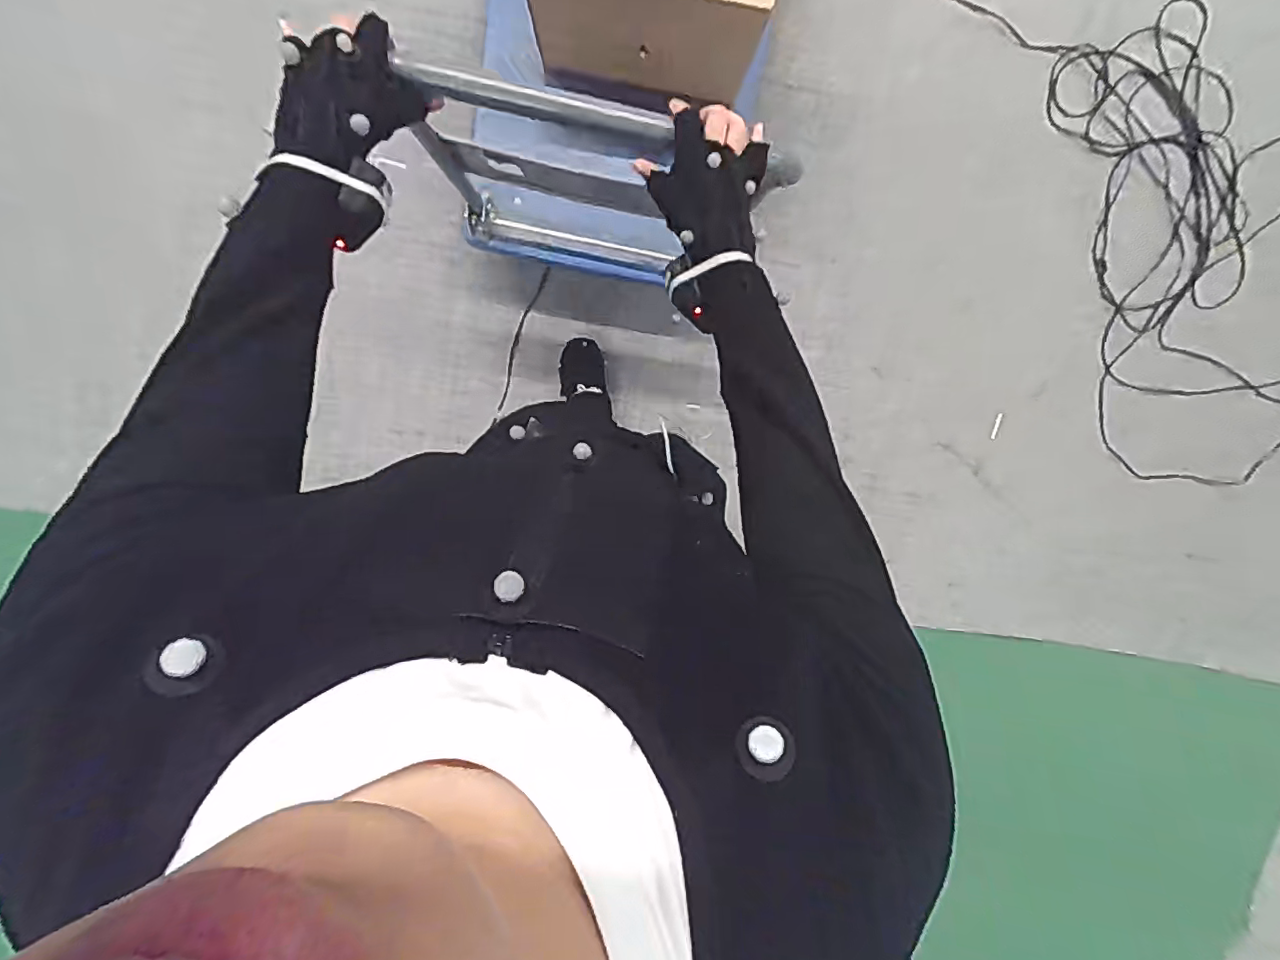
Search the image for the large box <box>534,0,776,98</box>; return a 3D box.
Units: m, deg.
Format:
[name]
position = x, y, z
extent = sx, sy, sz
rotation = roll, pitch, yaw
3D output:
[large box]
position = 0.033, -0.950, 0.965
extent = 0.408, 0.320, 0.320
rotation = 8, 100, -4
